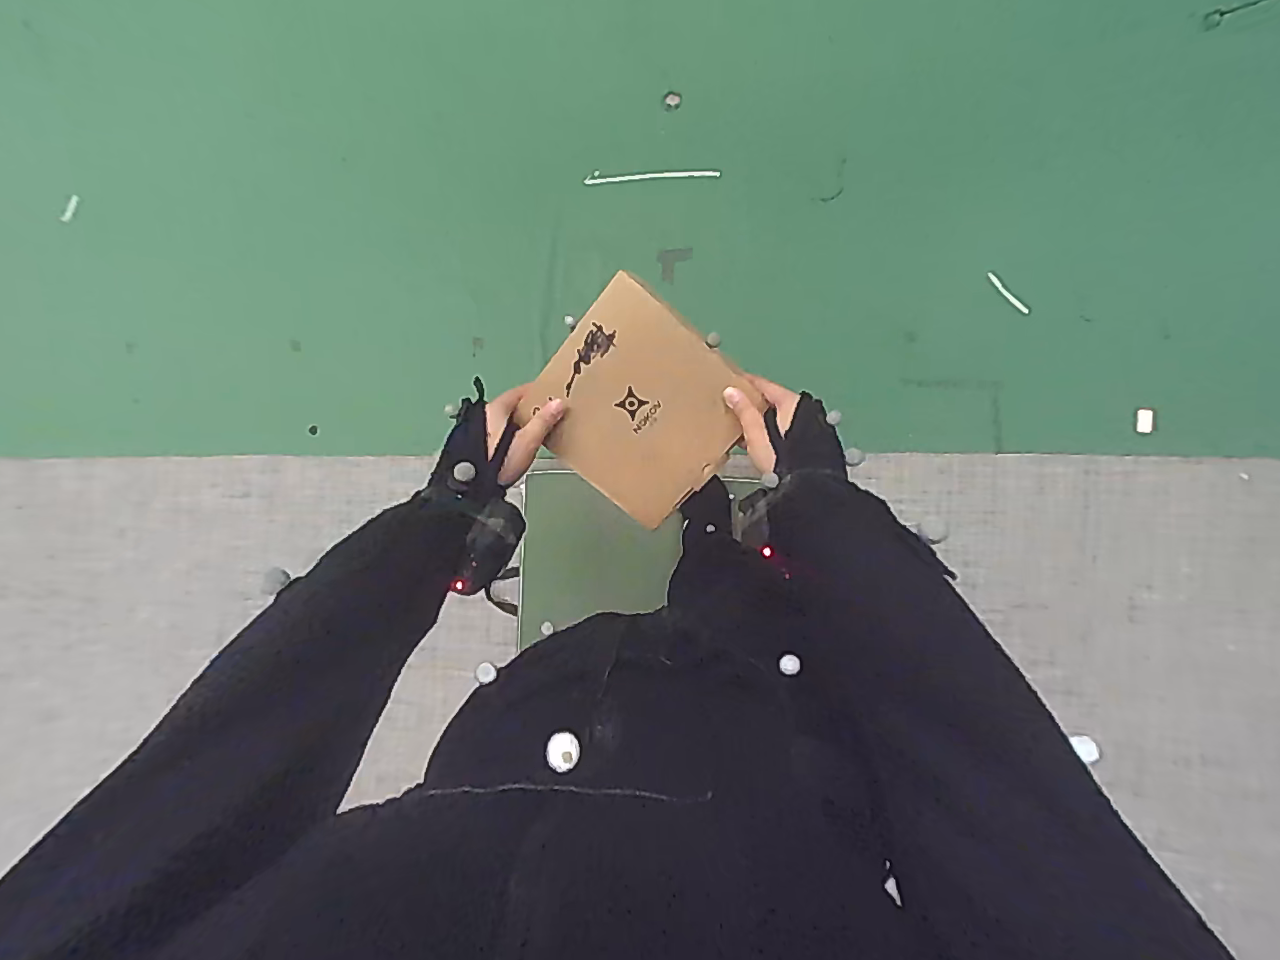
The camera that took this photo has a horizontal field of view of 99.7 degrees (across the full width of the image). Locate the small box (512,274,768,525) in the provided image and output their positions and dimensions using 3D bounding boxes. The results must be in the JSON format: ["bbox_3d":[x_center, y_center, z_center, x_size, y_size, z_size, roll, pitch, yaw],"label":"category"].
[{"bbox_3d":[0.004,-0.091,0.561,0.179,0.176,0.168,39,106,-9],"label":"small box"}]
